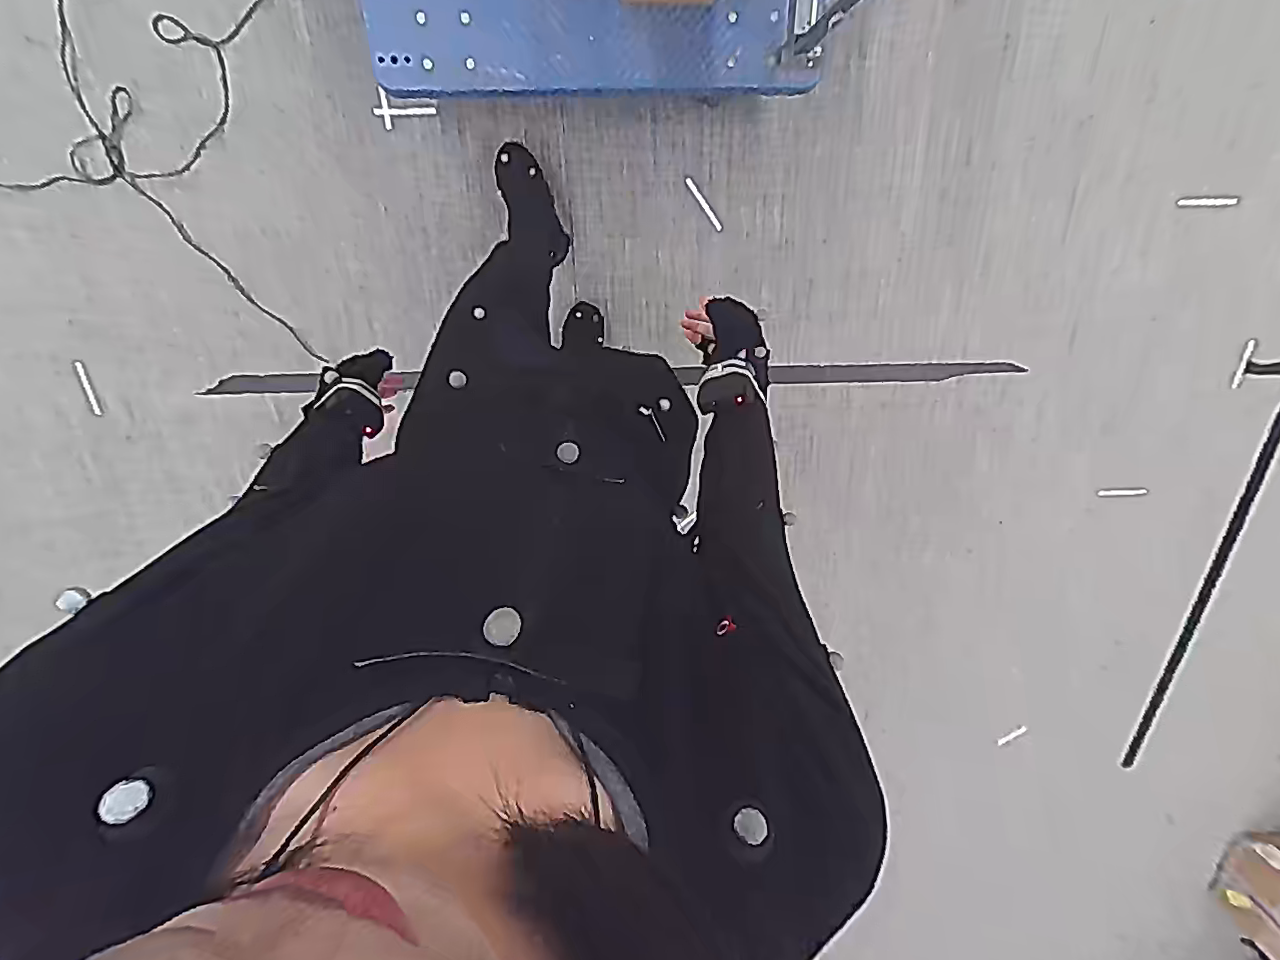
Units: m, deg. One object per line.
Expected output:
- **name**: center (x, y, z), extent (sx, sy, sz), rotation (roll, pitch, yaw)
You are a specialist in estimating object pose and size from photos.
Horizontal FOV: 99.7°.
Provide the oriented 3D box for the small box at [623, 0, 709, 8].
- **small box**: center (0.052, -0.927, 0.902), extent (0.179, 0.176, 0.168), rotation (-1, 112, -4)
